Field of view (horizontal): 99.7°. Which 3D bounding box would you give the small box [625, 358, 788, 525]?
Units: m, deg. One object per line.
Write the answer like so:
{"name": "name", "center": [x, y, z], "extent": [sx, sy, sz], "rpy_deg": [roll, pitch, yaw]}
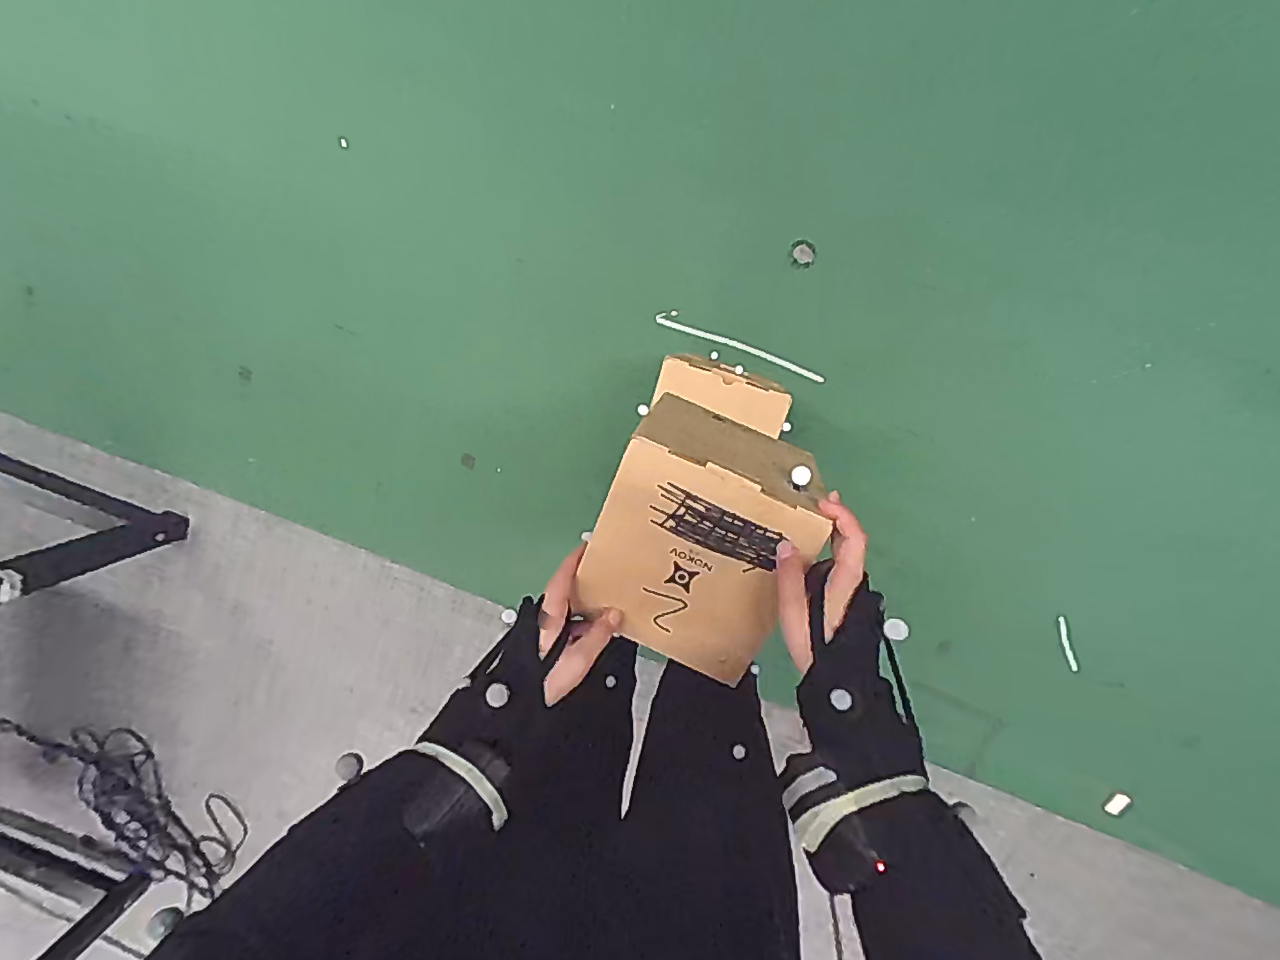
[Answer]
{"name": "small box", "center": [0.093, -0.064, 0.761], "extent": [0.168, 0.176, 0.179], "rpy_deg": [19, 105, 4]}
